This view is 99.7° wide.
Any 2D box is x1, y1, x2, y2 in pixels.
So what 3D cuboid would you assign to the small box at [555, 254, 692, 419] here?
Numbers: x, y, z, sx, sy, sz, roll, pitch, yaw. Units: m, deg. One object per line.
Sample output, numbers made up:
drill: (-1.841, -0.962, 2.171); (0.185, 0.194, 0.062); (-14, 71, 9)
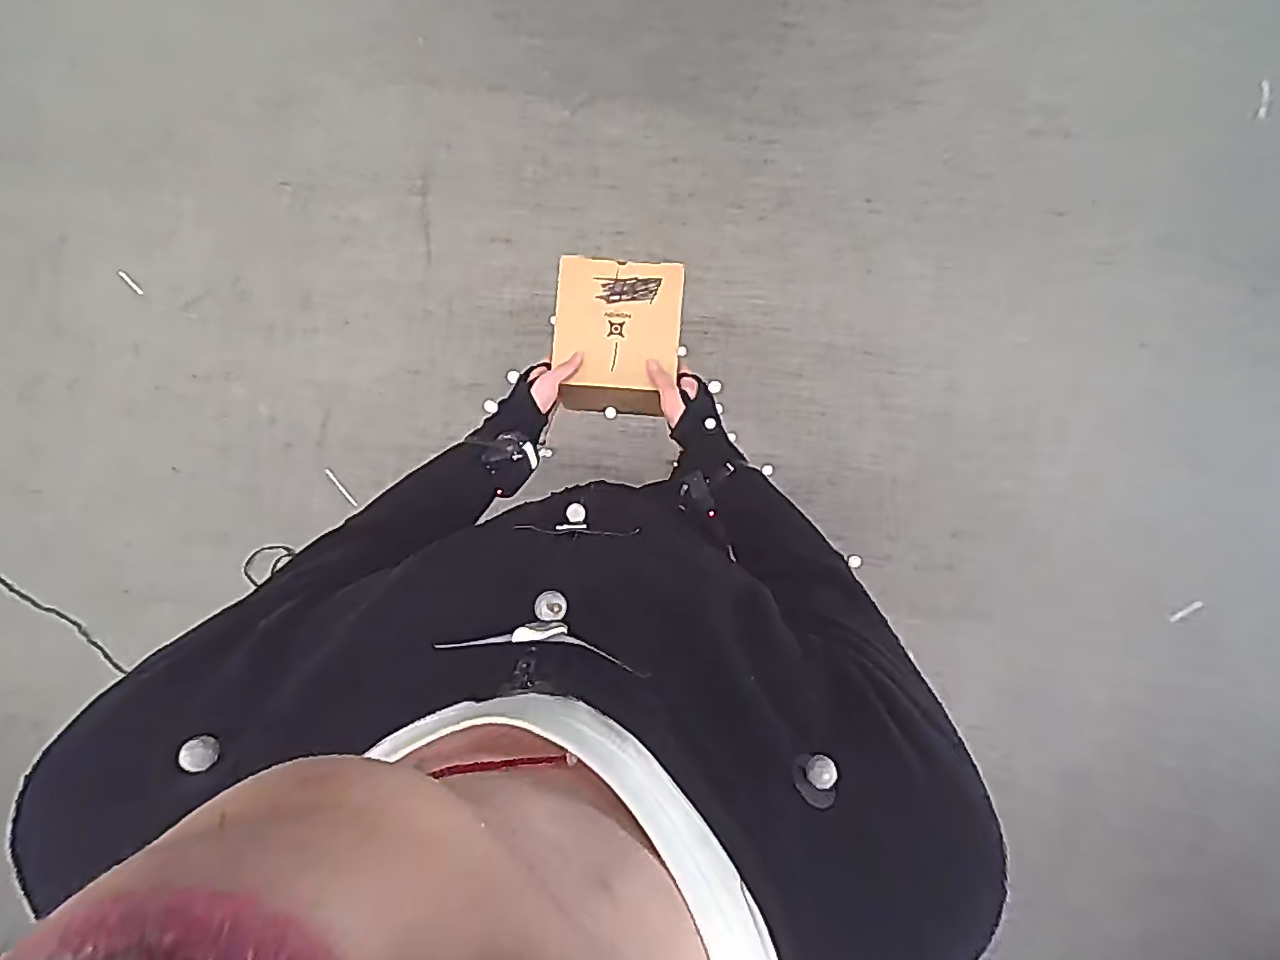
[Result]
small box: (-0.022, -0.197, 0.785); (0.168, 0.176, 0.179); (6, 85, 0)
